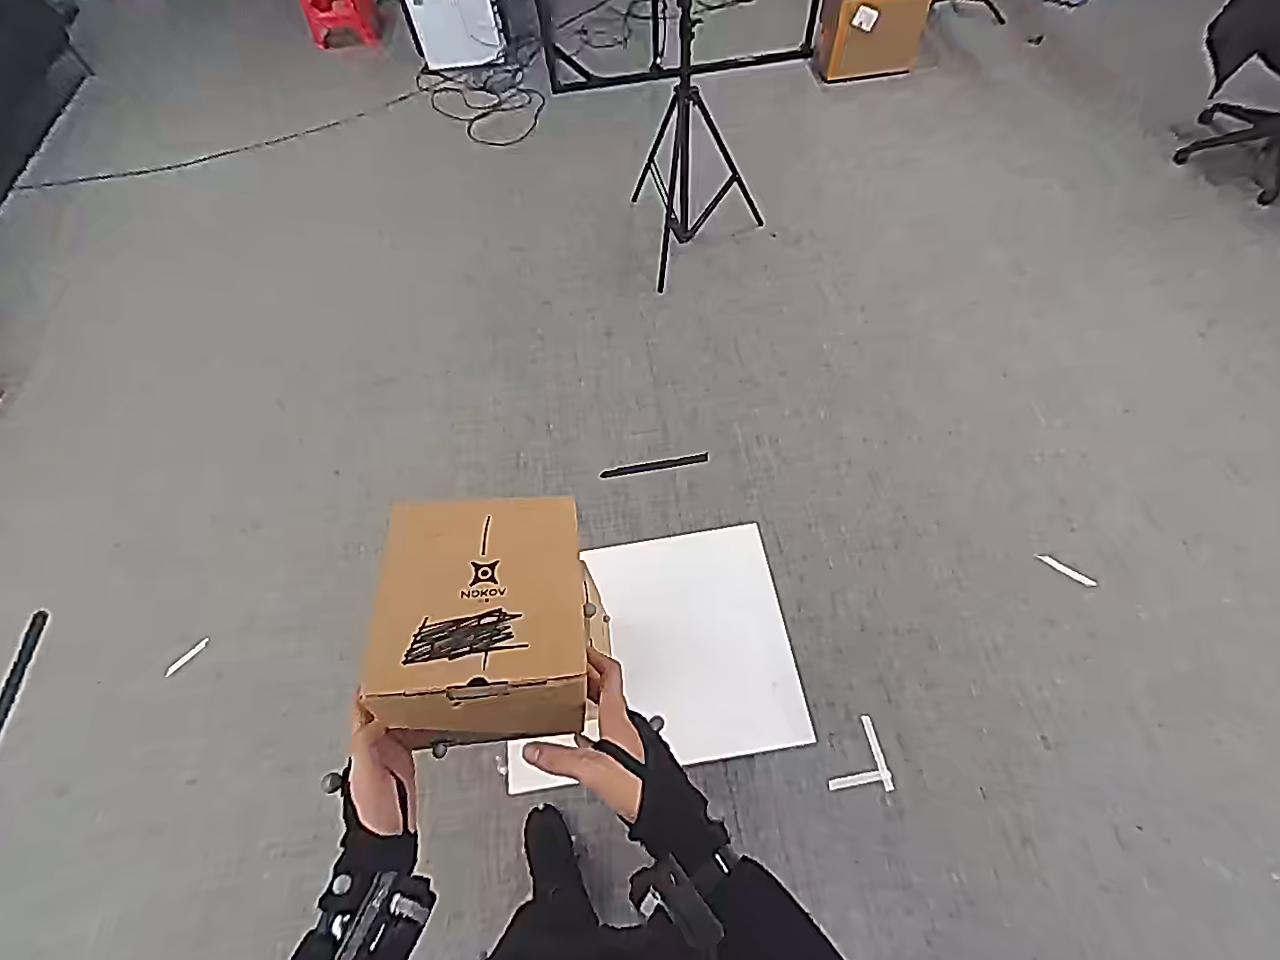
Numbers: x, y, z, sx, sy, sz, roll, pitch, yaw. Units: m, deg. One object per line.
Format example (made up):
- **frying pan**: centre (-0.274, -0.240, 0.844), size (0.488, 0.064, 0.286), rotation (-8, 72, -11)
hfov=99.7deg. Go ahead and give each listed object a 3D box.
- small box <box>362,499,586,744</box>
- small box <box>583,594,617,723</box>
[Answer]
- **small box**: centre (-0.136, 0.138, 0.511), size (0.168, 0.176, 0.179), rotation (-2, 52, -9)
- **small box**: centre (-0.132, 0.302, 0.882), size (0.168, 0.176, 0.179), rotation (-8, 61, -1)
